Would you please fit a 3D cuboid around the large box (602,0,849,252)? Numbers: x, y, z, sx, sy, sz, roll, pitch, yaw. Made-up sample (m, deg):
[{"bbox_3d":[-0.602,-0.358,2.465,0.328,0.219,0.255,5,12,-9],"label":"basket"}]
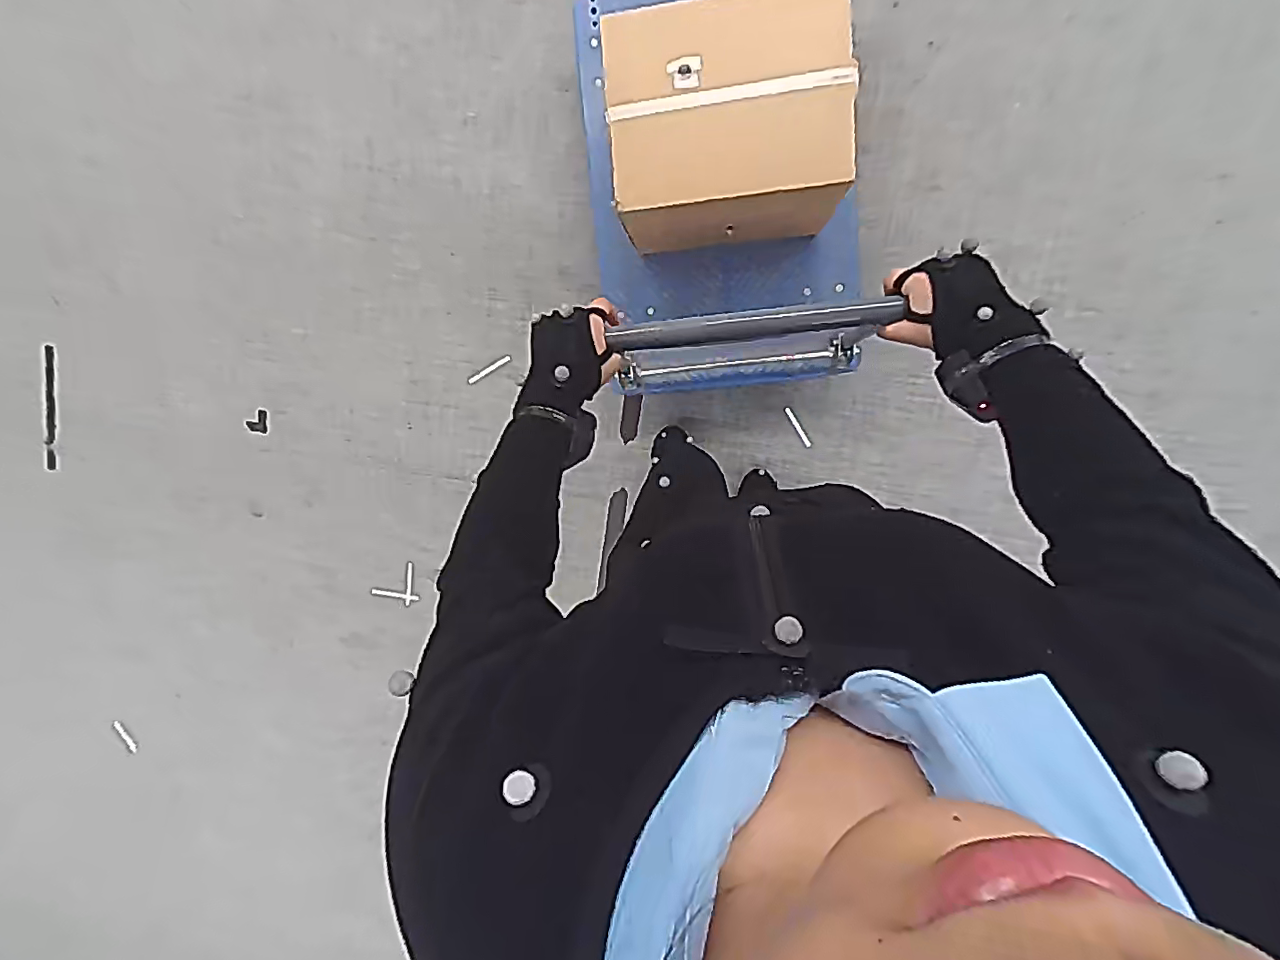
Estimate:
[{"bbox_3d":[0.165,-0.668,1.064,0.408,0.320,0.320,-4,98,9],"label":"large box"}]
